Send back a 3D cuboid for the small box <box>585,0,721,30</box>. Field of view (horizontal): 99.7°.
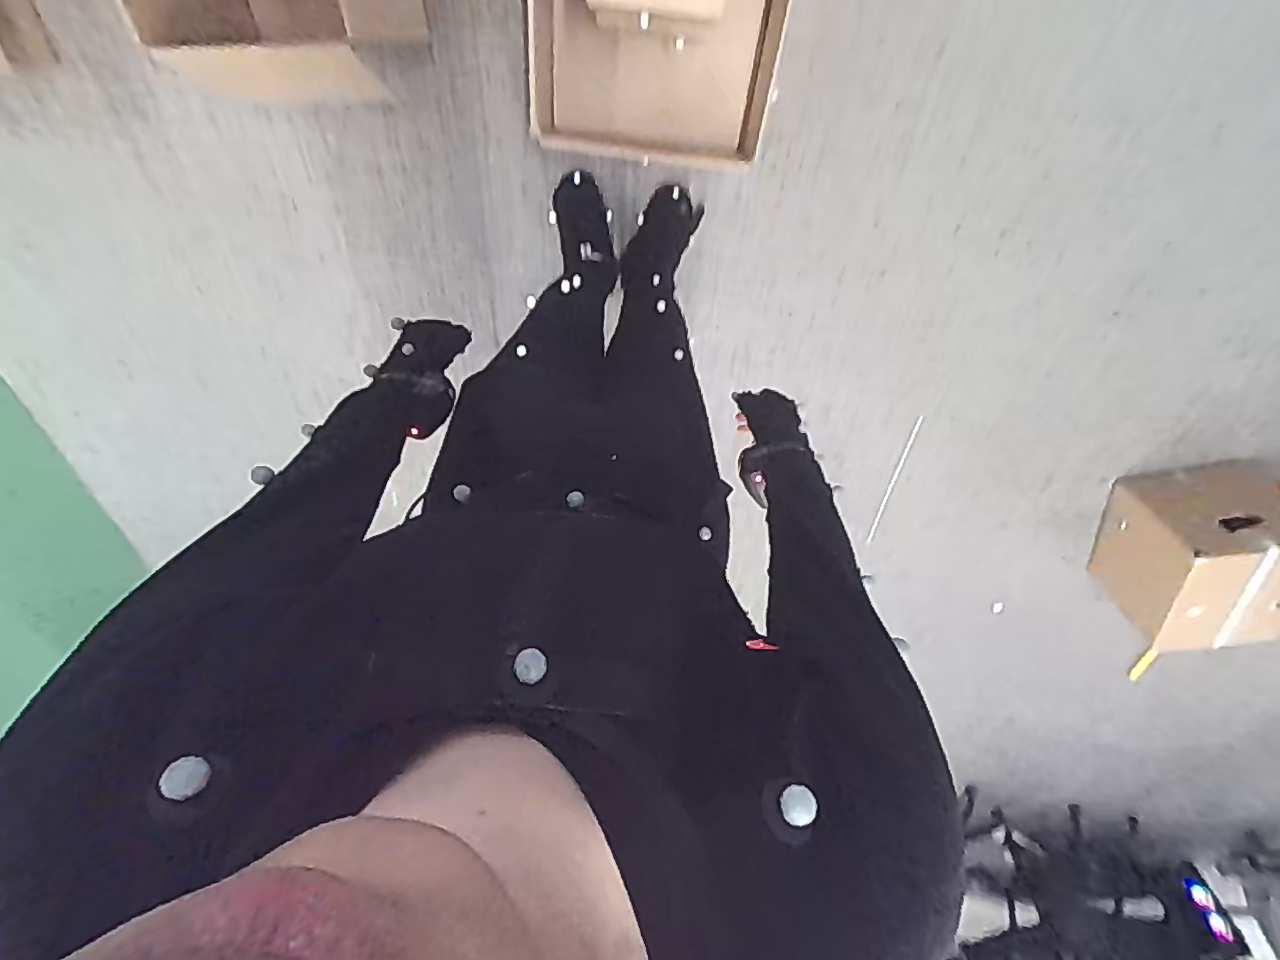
[{"bbox_3d":[0.023,-0.703,0.700,0.179,0.176,0.168,4,126,-3],"label":"small box"}]
